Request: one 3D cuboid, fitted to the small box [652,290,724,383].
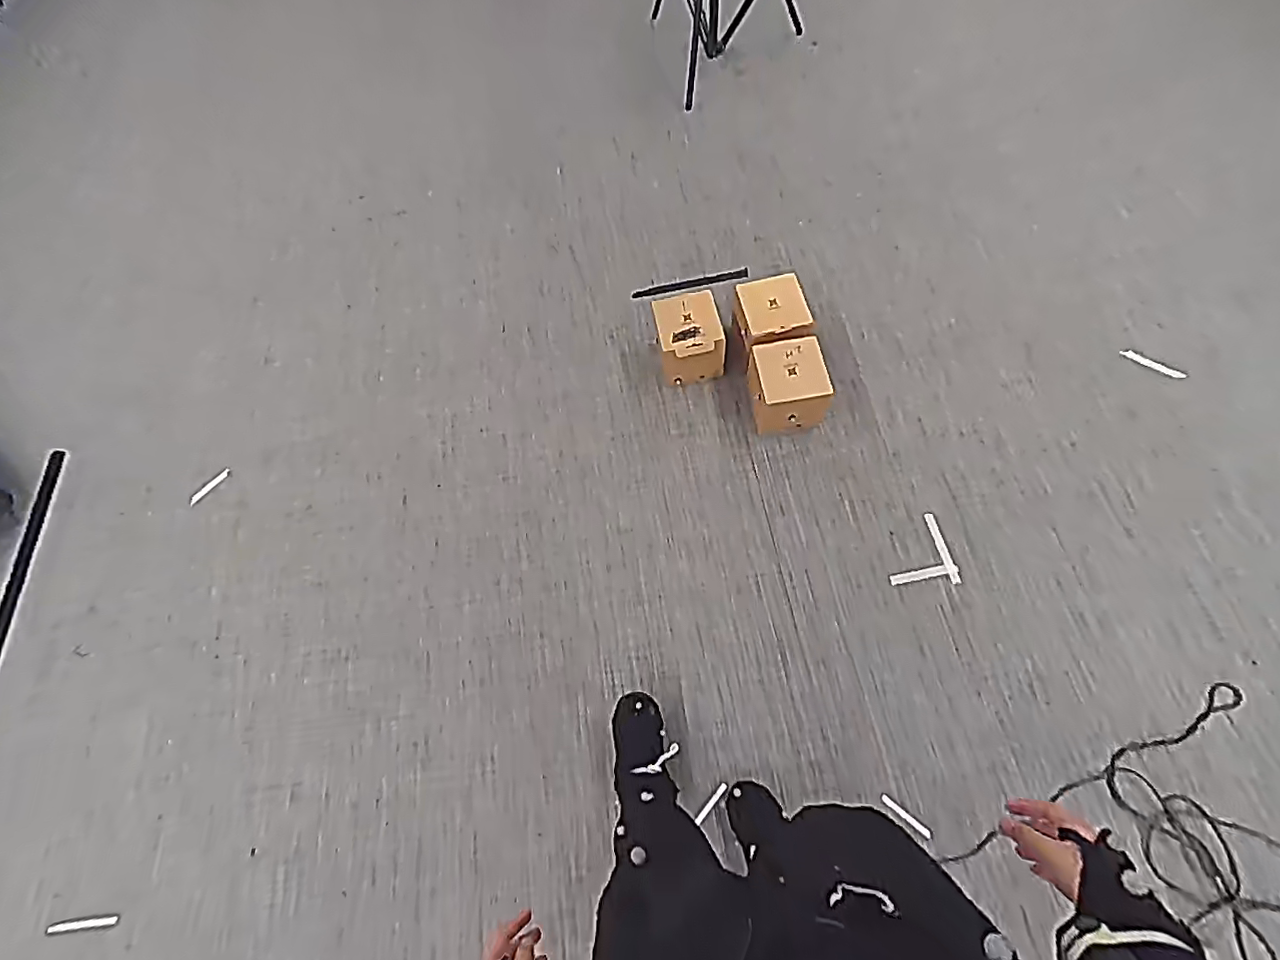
[{"bbox_3d":[0.134,-0.387,1.493,0.168,0.176,0.179,-11,66,1],"label":"small box"}]
